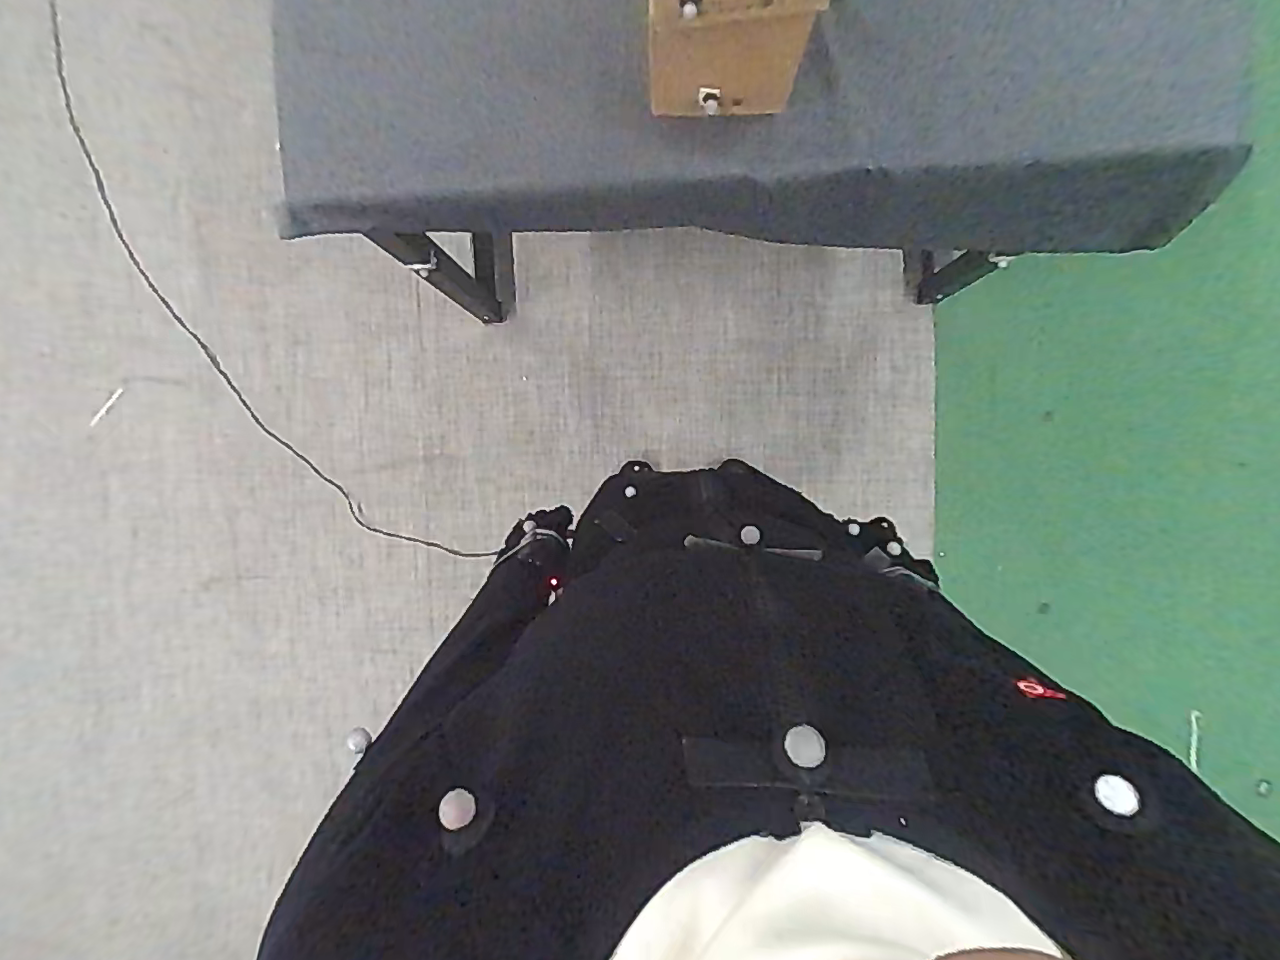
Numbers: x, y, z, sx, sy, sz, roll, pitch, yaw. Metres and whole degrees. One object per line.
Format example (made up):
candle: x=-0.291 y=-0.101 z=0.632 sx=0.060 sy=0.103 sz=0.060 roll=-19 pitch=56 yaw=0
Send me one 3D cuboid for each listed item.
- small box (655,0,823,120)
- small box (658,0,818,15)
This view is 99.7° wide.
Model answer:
small box: x=0.100 y=-0.544 z=0.604 sx=0.168 sy=0.176 sz=0.179 roll=-1 pitch=93 yaw=4
small box: x=0.087 y=-0.528 z=0.441 sx=0.168 sy=0.176 sz=0.179 roll=-4 pitch=90 yaw=4
